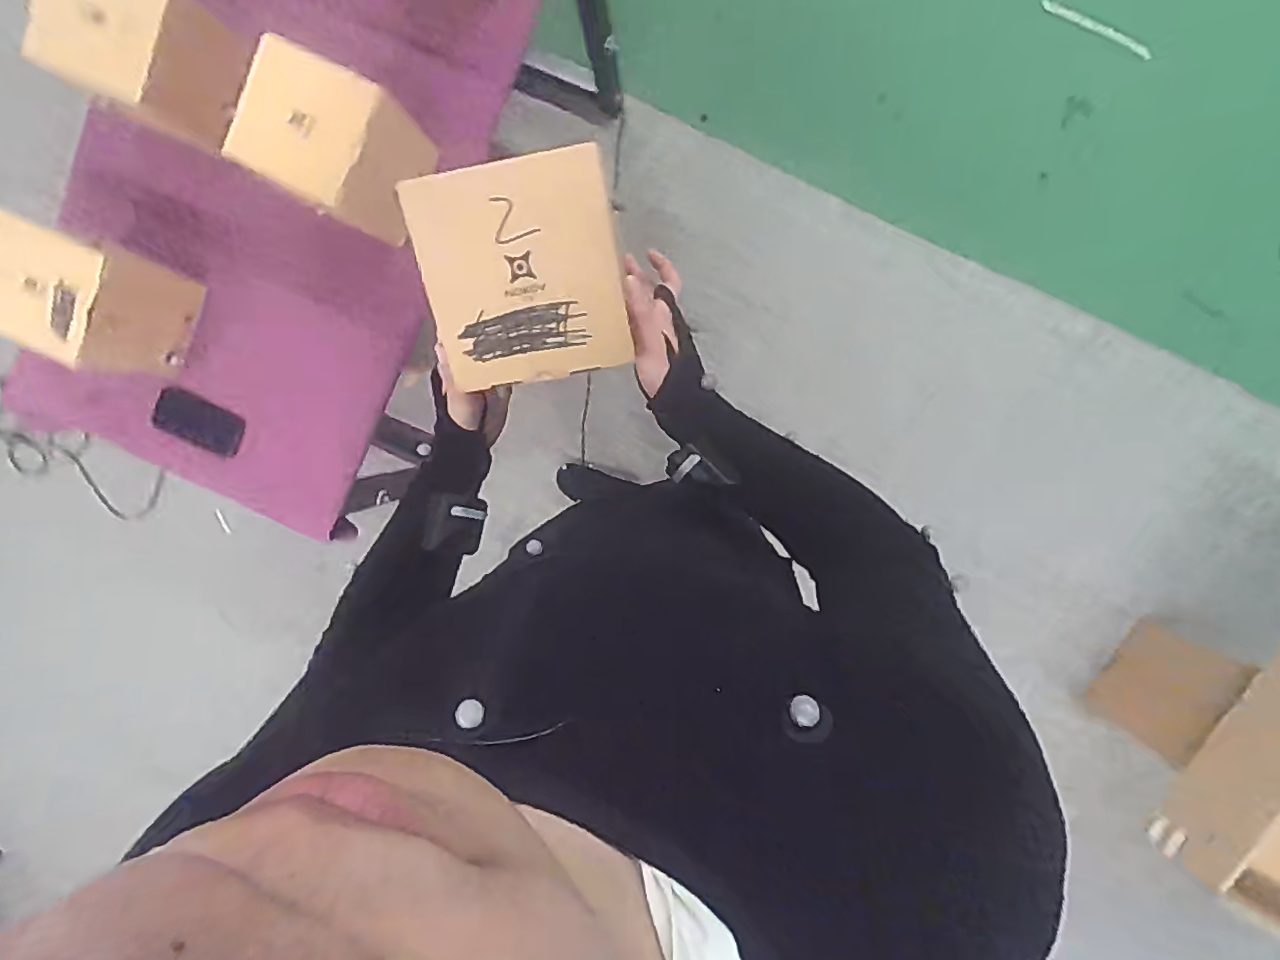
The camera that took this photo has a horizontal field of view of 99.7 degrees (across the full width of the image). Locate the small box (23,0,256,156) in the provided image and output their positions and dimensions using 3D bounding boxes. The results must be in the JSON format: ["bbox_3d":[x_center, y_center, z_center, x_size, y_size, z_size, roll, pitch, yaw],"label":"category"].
[{"bbox_3d":[-0.715,-0.617,0.796,0.179,0.176,0.168,23,99,0],"label":"small box"}]

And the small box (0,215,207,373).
[{"bbox_3d":[-0.836,-0.276,0.844,0.179,0.176,0.168,24,98,1],"label":"small box"}]

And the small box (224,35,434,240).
[{"bbox_3d":[-0.440,-0.481,0.791,0.179,0.176,0.168,26,98,2],"label":"small box"}]
